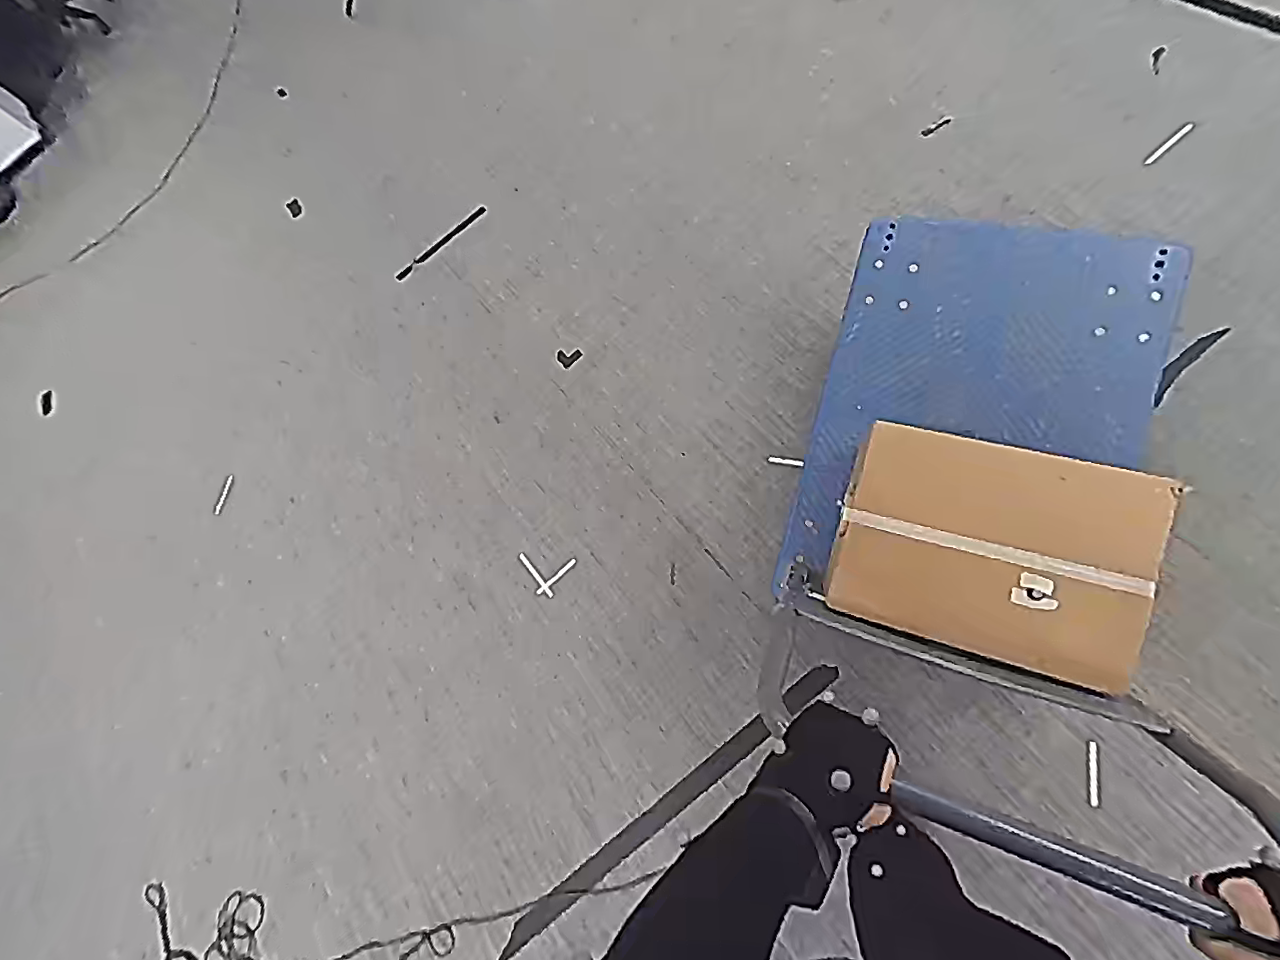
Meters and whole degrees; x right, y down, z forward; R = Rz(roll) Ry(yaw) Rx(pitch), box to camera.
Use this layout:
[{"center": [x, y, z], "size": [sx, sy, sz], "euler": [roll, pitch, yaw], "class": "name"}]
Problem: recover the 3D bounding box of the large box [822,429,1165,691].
[{"center": [0.565, 0.120, 0.963], "size": [0.408, 0.320, 0.320], "euler": [15, 91, 17], "class": "large box"}]
